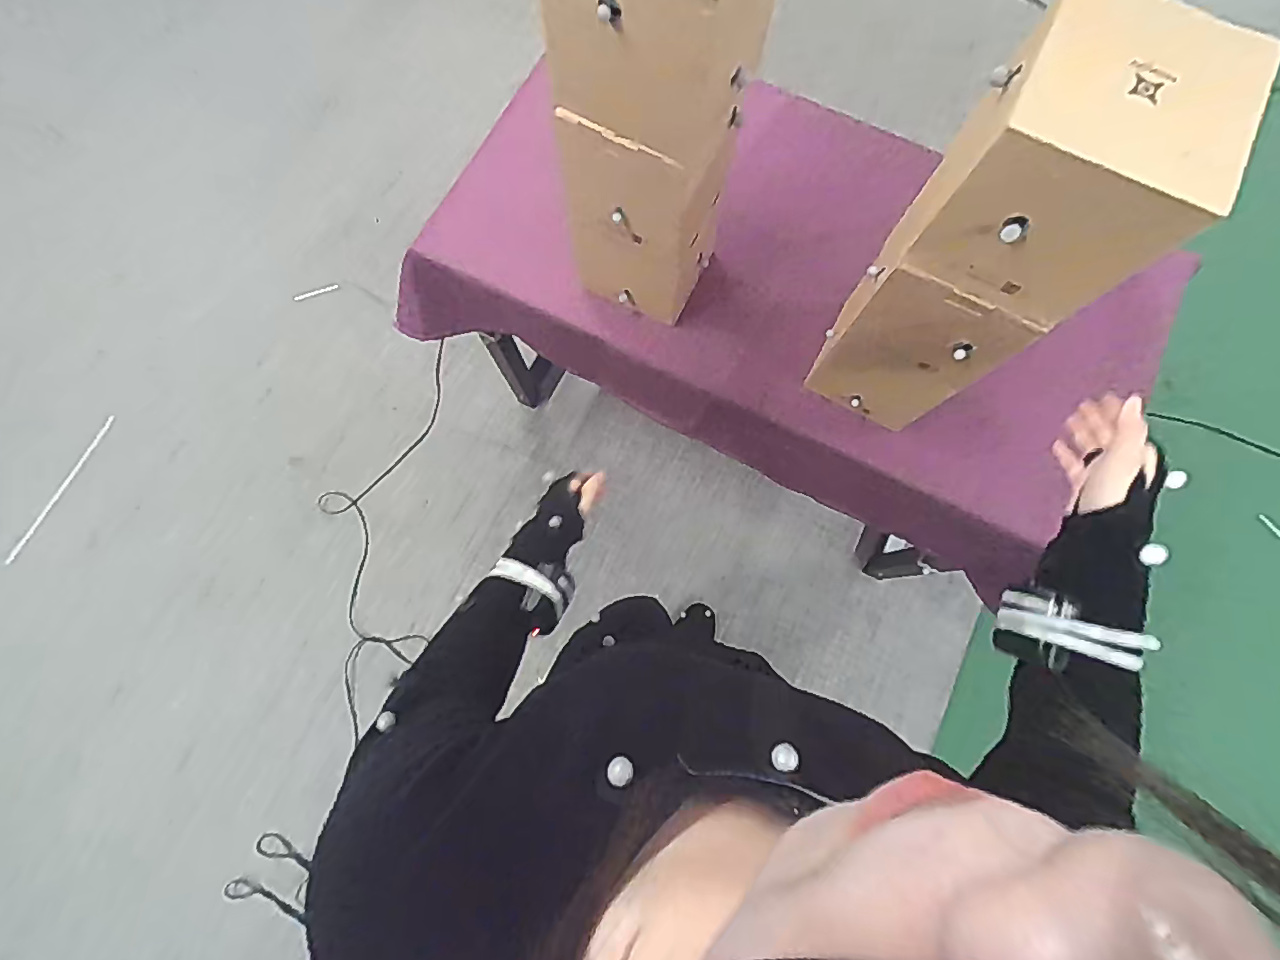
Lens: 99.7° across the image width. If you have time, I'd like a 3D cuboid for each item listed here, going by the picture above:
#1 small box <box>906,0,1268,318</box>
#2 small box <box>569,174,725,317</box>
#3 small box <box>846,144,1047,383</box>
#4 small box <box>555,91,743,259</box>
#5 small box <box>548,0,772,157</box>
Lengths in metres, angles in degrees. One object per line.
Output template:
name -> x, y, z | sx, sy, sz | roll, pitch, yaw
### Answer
small box -> 0.372, -0.280, 0.486 | 0.168, 0.176, 0.179 | 27, 78, 5
small box -> 0.009, -0.383, 0.842 | 0.179, 0.176, 0.168 | 25, 77, 4
small box -> 0.371, -0.244, 0.645 | 0.168, 0.176, 0.179 | 27, 78, 5
small box -> 0.013, -0.424, 0.682 | 0.168, 0.176, 0.179 | 26, 78, 6
small box -> 0.020, -0.460, 0.522 | 0.179, 0.176, 0.168 | 28, 78, 5
